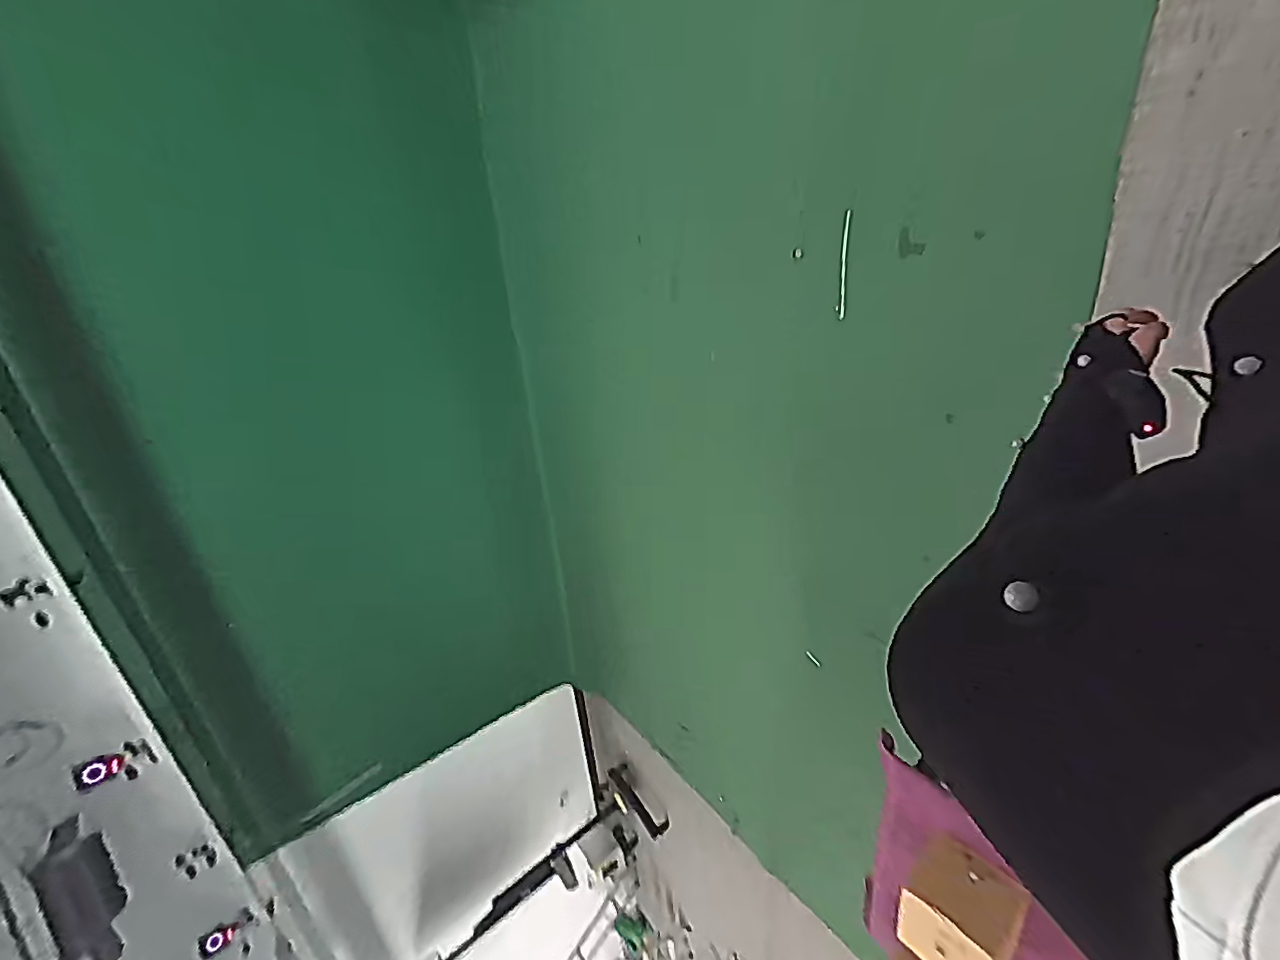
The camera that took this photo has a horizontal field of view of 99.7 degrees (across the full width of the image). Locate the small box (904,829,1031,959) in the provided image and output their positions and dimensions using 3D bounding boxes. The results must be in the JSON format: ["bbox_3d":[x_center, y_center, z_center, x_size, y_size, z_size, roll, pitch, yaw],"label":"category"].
[{"bbox_3d":[0.664,0.872,1.099,0.168,0.176,0.179,20,125,46],"label":"small box"}]
